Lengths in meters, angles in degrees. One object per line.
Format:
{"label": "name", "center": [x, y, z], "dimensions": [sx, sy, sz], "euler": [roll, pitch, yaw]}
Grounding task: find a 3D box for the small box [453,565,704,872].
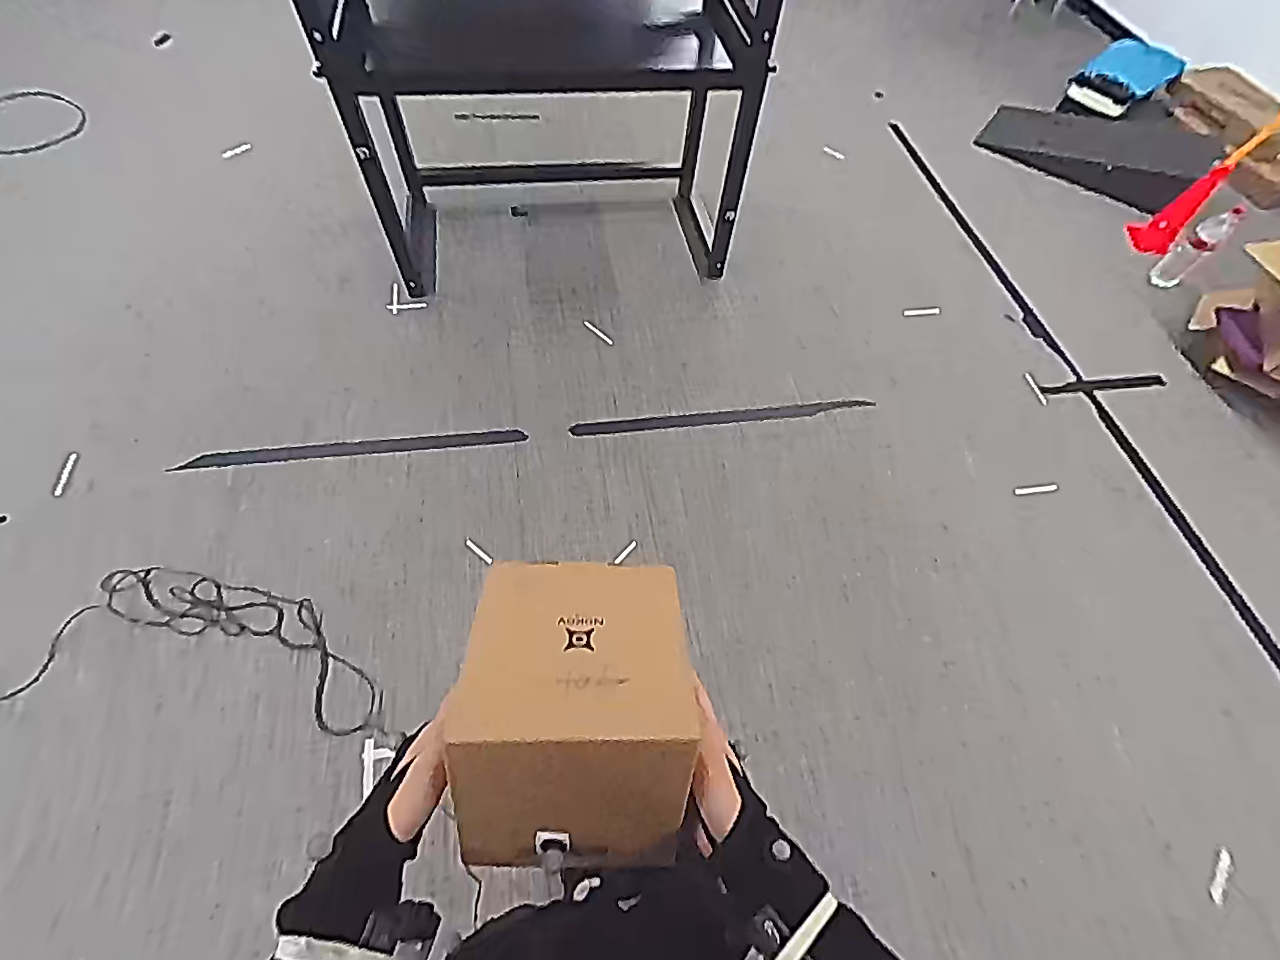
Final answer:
{"label": "small box", "center": [-0.050, 0.193, 0.458], "dimensions": [0.168, 0.176, 0.179], "euler": [2, 31, -6]}
